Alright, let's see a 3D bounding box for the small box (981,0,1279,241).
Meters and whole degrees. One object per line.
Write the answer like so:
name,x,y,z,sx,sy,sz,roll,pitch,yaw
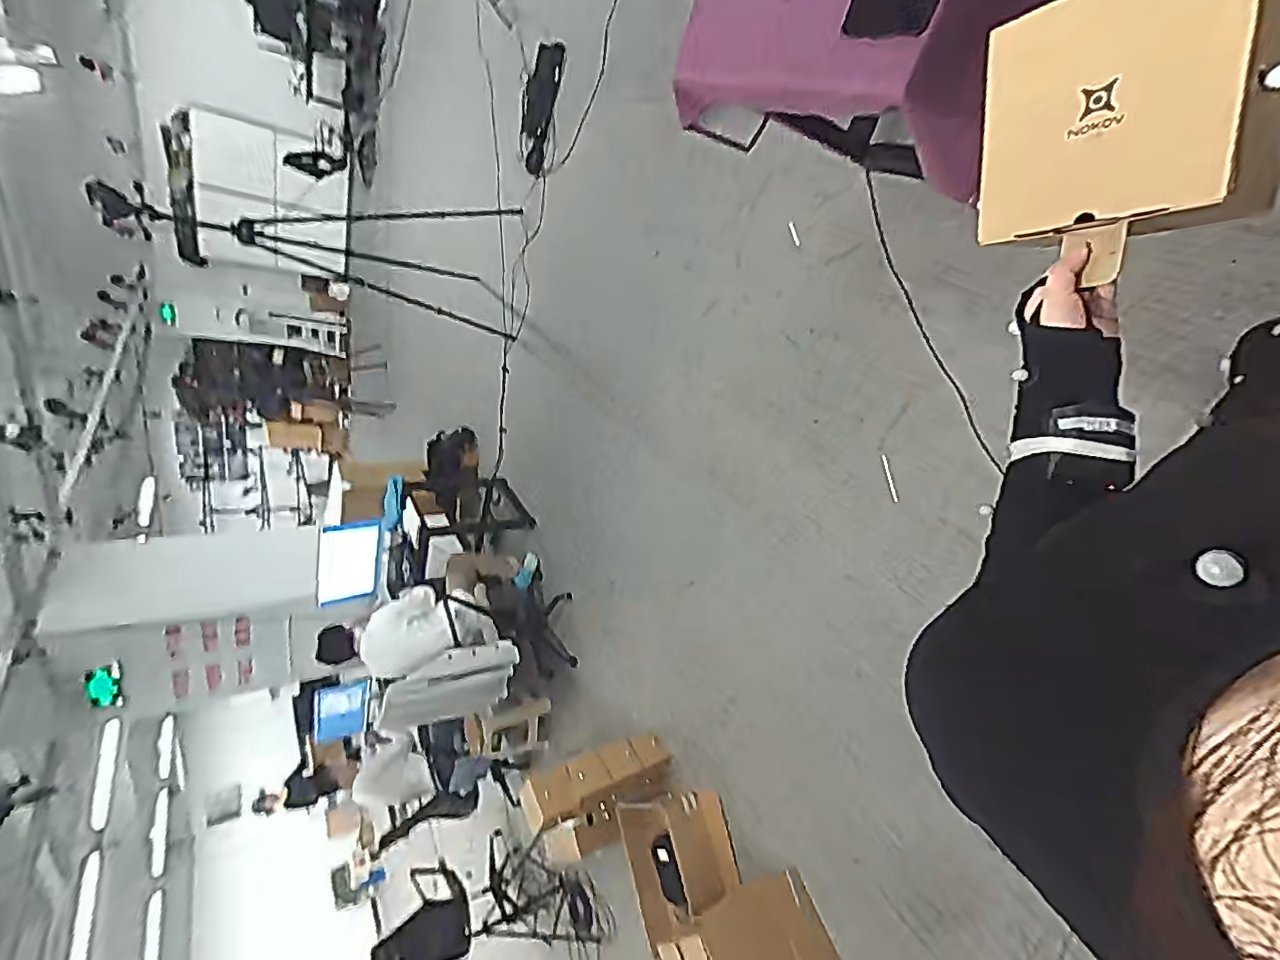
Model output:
small box,0.433,-0.317,0.474,0.168,0.176,0.179,17,118,54
